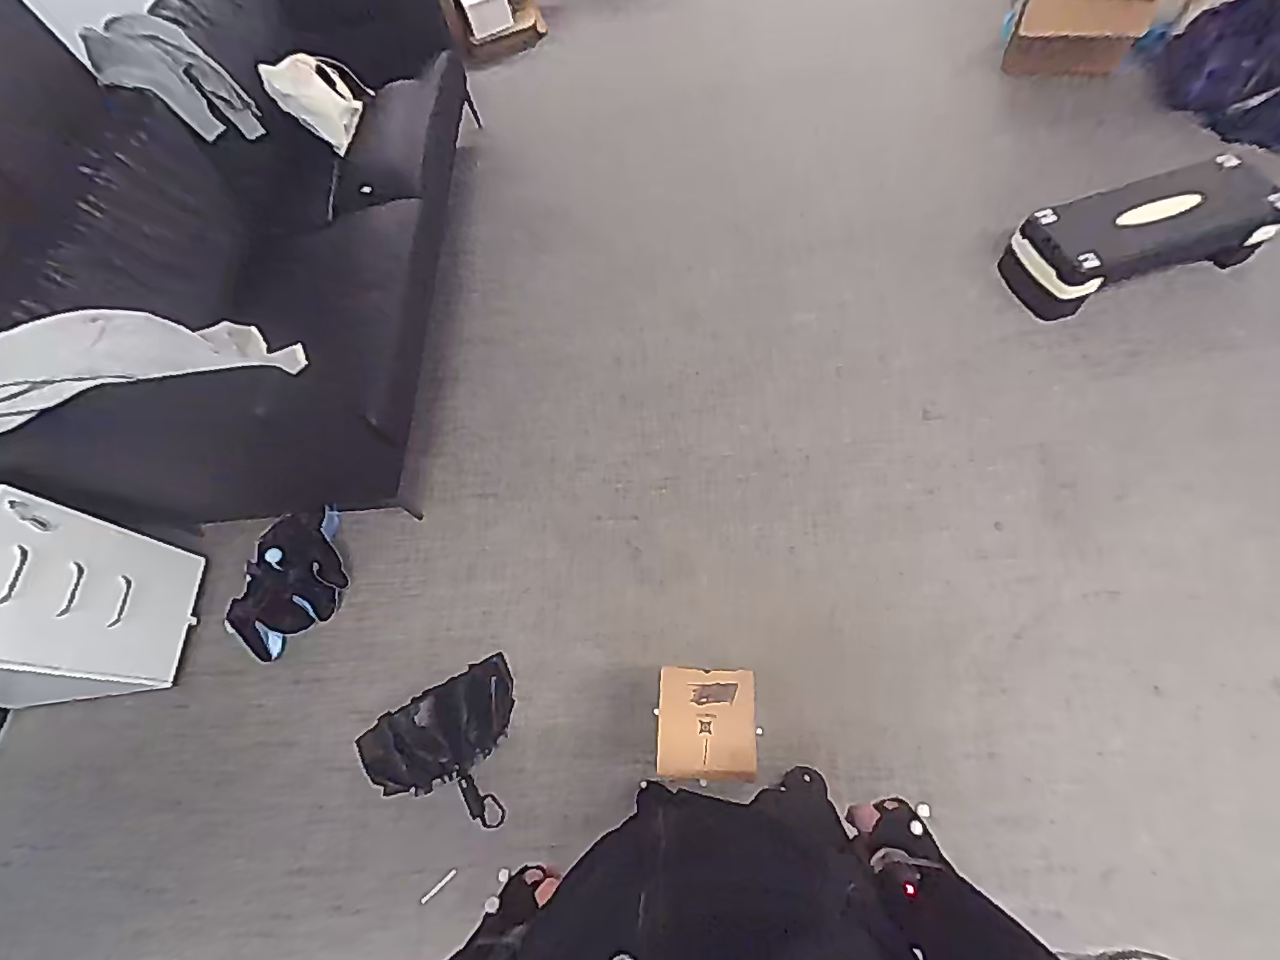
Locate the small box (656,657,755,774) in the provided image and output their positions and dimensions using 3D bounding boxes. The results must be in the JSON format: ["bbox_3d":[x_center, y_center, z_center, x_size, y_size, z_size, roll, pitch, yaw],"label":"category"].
[{"bbox_3d":[0.124,0.435,1.000,0.168,0.176,0.179,0,65,9],"label":"small box"}]
